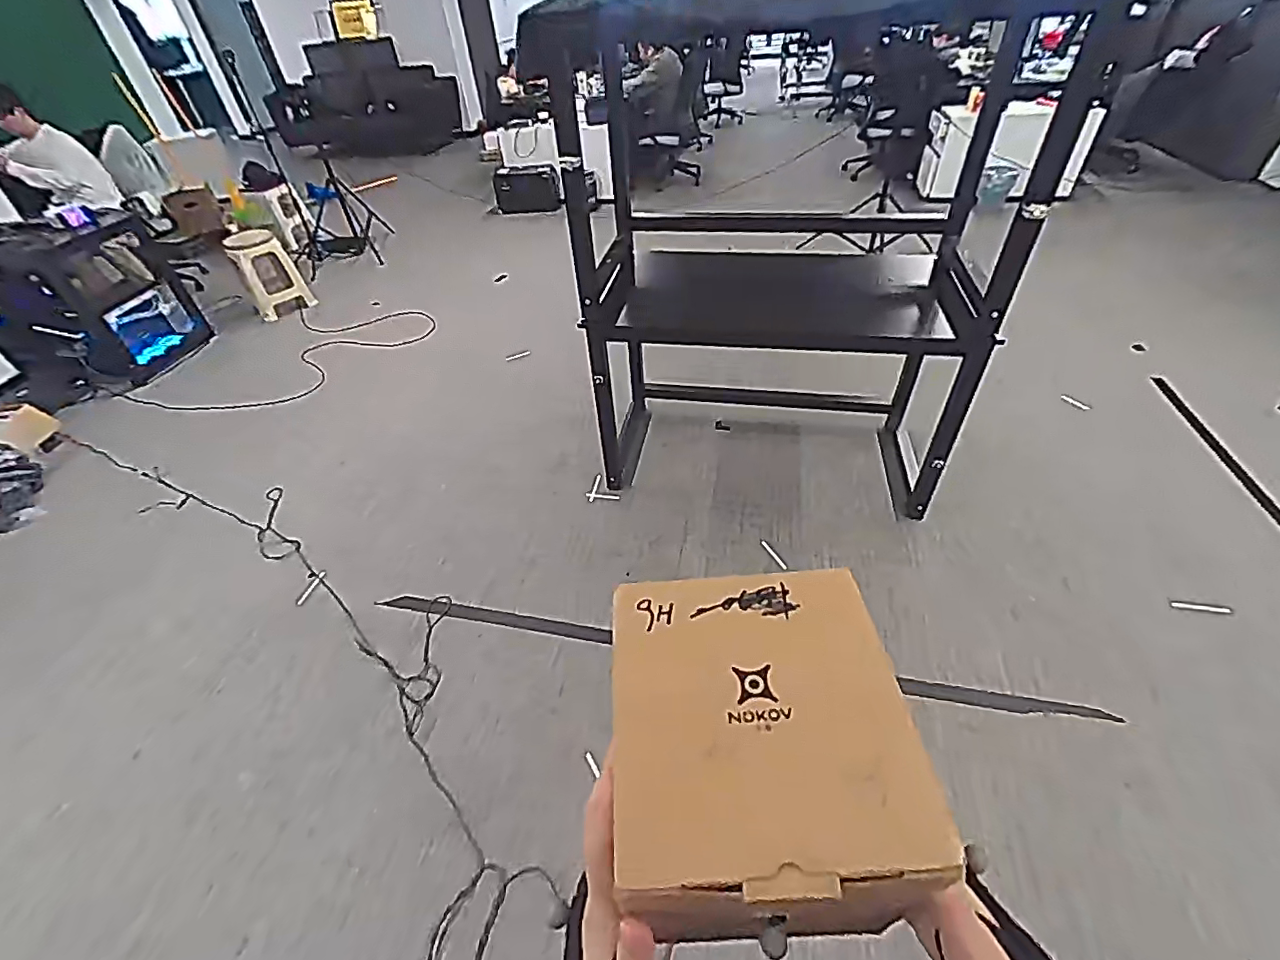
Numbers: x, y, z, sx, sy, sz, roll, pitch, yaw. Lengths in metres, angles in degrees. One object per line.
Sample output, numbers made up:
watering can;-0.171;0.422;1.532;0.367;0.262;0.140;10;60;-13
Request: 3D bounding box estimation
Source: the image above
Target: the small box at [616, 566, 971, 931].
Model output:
small box;0.074;0.181;0.361;0.168;0.176;0.179;-4;44;1
